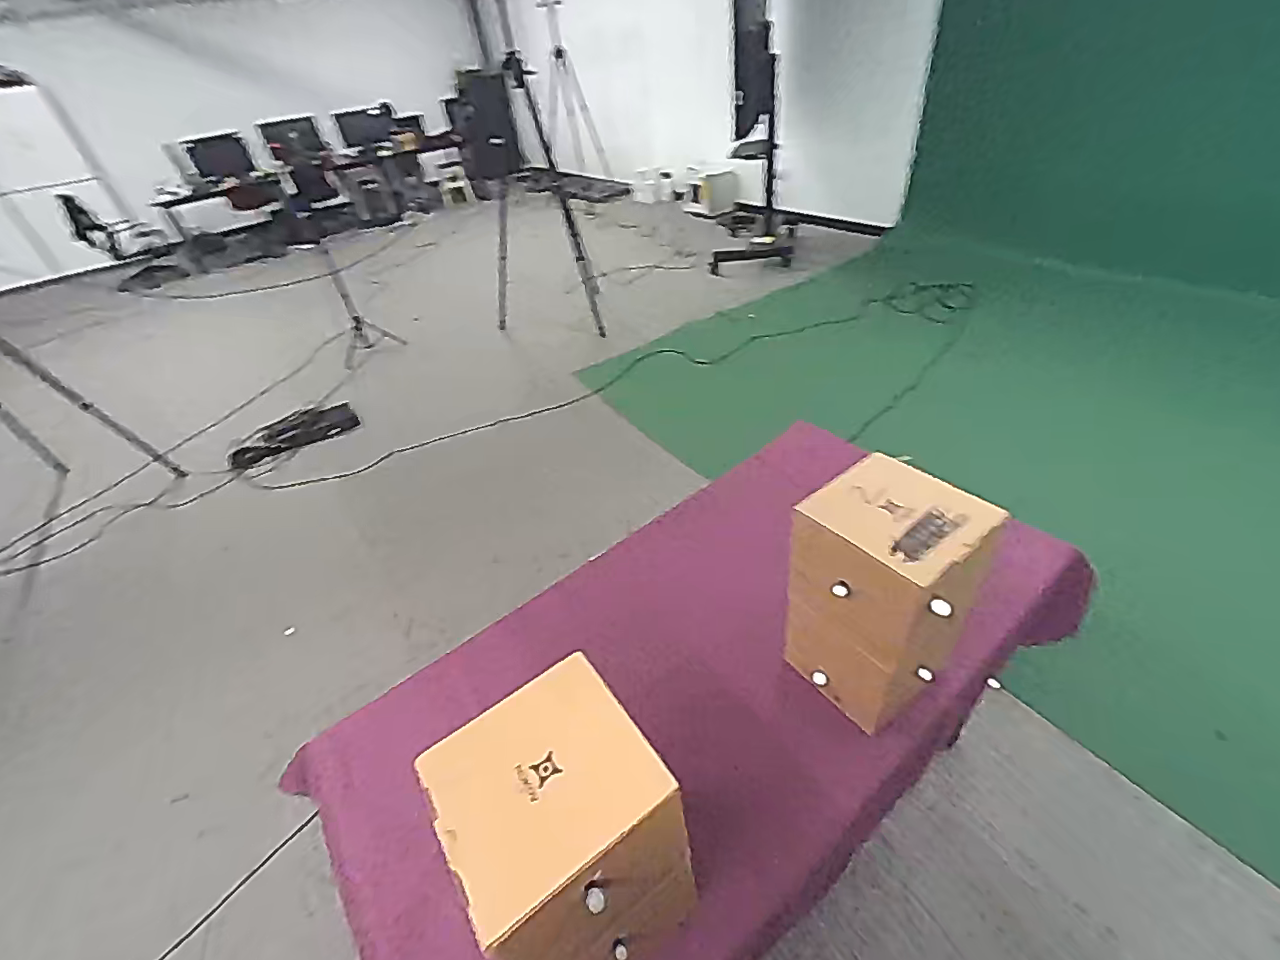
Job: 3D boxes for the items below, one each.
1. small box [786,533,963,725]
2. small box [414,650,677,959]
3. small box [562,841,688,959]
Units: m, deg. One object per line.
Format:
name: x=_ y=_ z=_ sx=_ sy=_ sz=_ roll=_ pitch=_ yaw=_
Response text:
small box: x=0.332 y=0.217 z=0.800 sx=0.179 sy=0.176 sz=0.168 roll=-30 pitch=43 yaw=-22
small box: x=-0.078 y=0.306 z=0.511 sx=0.179 sy=0.176 sz=0.168 roll=-30 pitch=43 yaw=-22
small box: x=-0.061 y=0.434 z=0.612 sx=0.179 sy=0.176 sz=0.168 roll=-28 pitch=43 yaw=-23
